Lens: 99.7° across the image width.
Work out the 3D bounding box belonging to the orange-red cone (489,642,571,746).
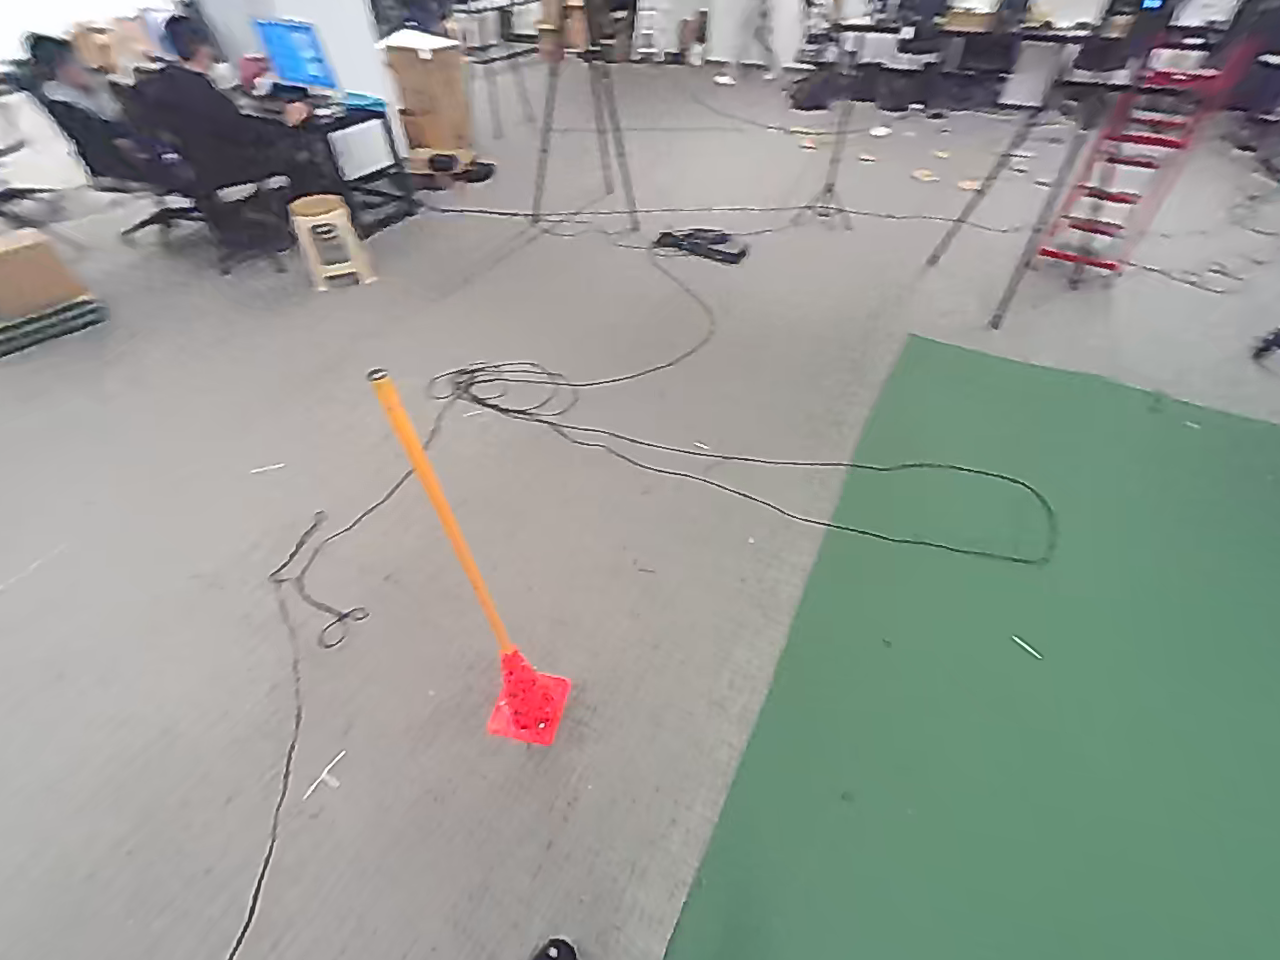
[{"bbox_3d":[-0.321,0.542,1.470,0.198,0.360,0.199,10,46,9],"label":"orange-red cone"}]
